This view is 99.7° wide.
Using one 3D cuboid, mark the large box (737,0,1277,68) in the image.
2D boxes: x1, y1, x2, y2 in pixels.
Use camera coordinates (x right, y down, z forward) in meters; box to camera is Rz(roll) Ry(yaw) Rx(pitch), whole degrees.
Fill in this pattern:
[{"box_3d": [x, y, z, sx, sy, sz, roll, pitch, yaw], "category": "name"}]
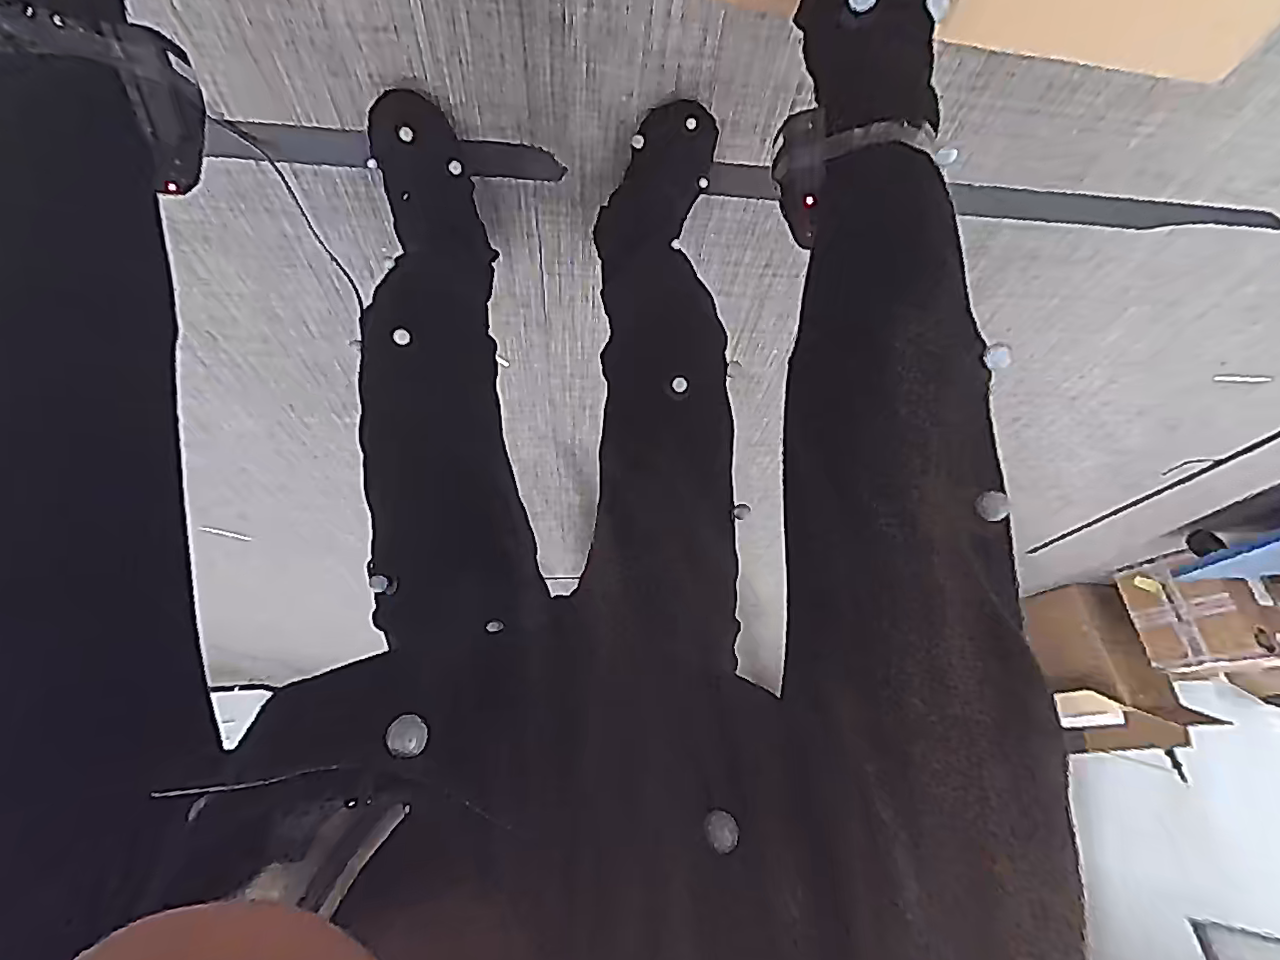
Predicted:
[{"box_3d": [0.259, -0.524, 0.328, 0.408, 0.320, 0.320, 1, 153, -10], "category": "large box"}]
